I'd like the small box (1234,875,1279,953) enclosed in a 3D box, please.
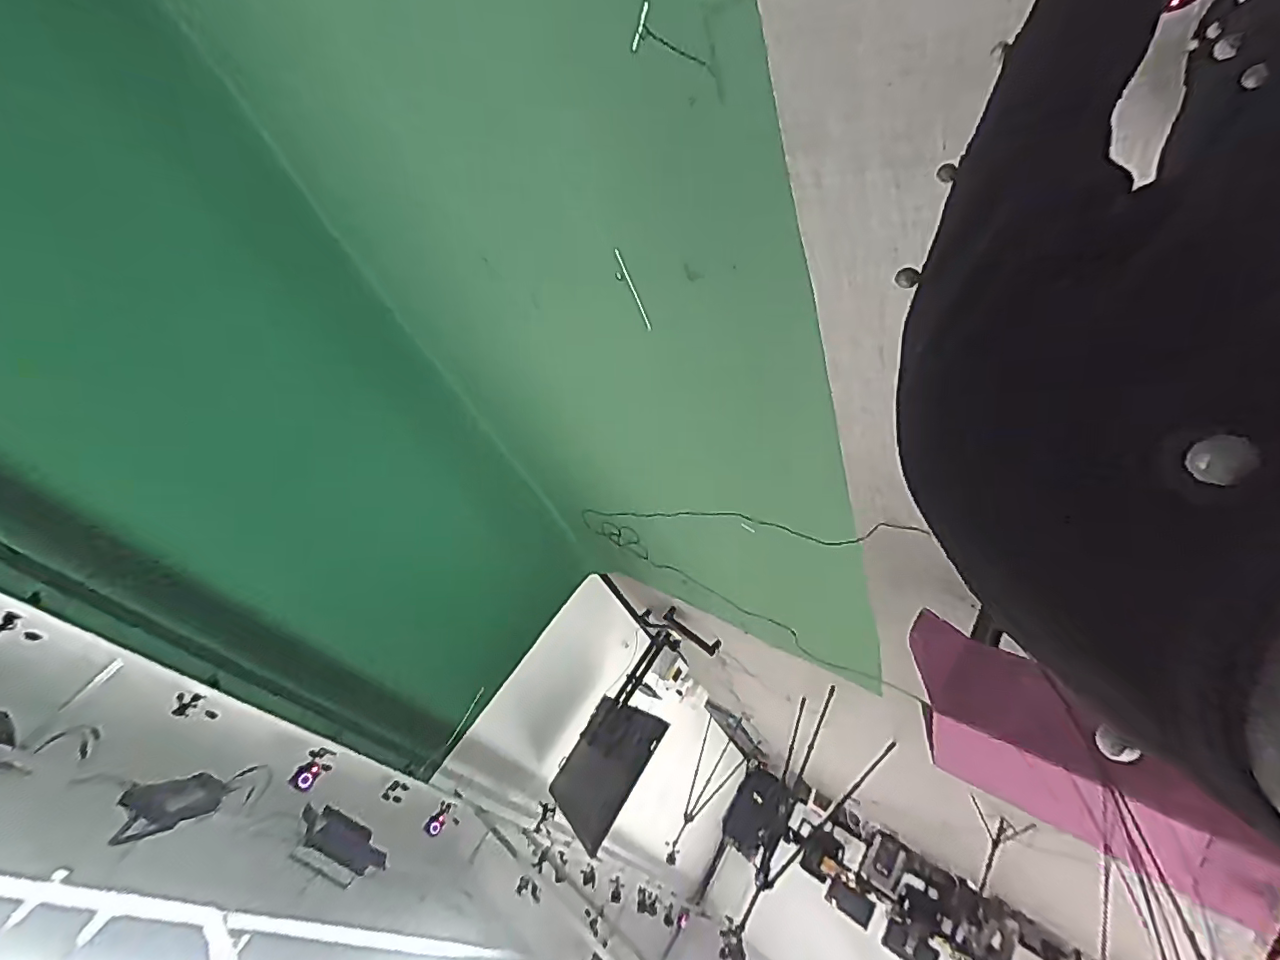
[{"bbox_3d":[1.623,1.128,1.343,0.168,0.176,0.179,14,148,45],"label":"small box"}]

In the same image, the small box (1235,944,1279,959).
[{"bbox_3d":[1.521,1.230,1.260,0.179,0.176,0.168,13,146,45],"label":"small box"}]
